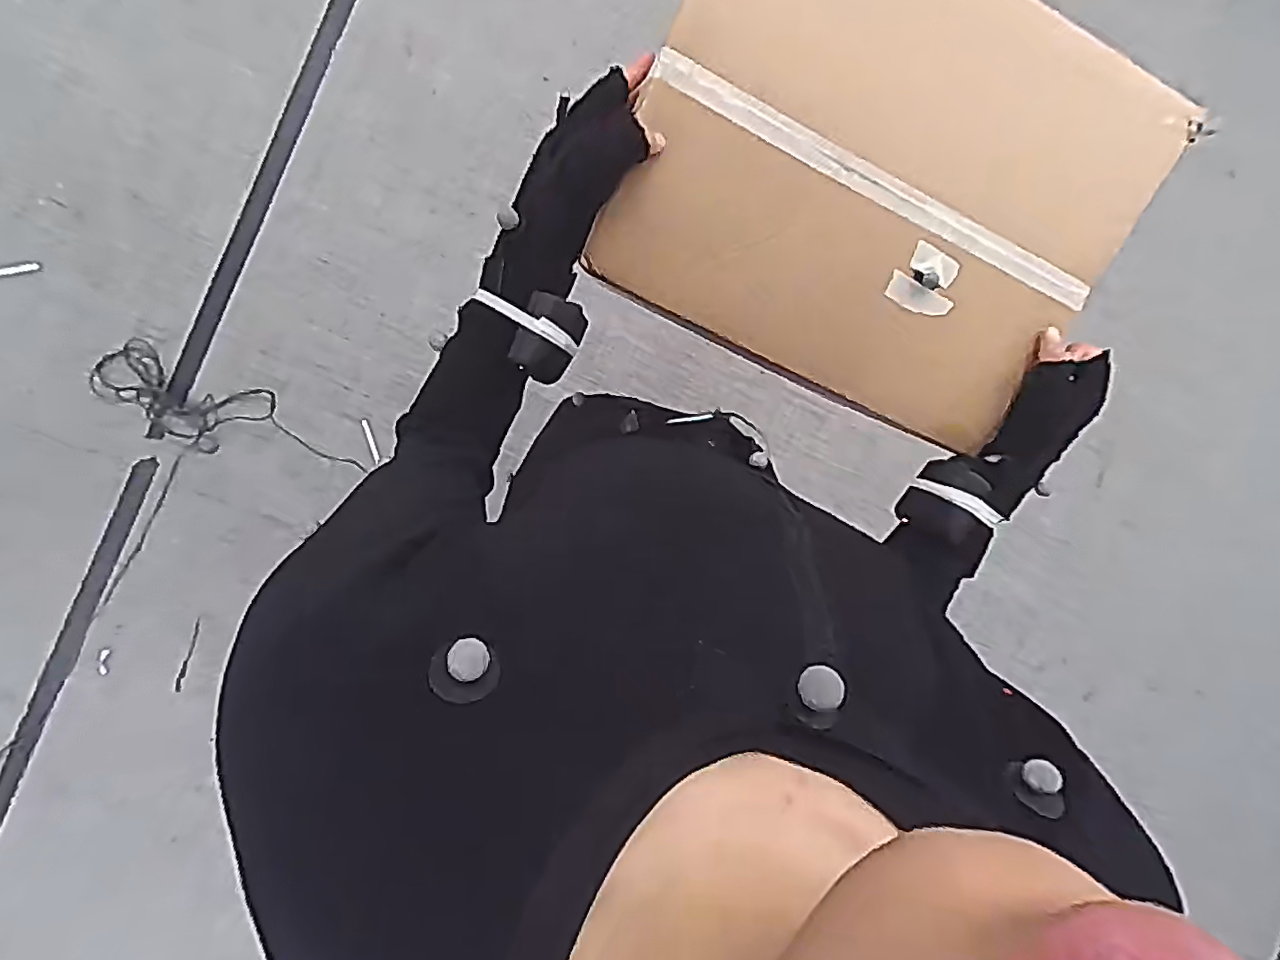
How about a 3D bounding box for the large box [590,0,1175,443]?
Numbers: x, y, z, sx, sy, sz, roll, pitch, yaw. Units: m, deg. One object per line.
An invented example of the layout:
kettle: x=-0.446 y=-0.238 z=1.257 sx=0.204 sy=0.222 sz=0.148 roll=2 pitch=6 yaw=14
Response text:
large box: x=0.188 y=-0.286 z=0.587 sx=0.408 sy=0.320 sz=0.320 roll=24 pitch=106 yaw=-10
